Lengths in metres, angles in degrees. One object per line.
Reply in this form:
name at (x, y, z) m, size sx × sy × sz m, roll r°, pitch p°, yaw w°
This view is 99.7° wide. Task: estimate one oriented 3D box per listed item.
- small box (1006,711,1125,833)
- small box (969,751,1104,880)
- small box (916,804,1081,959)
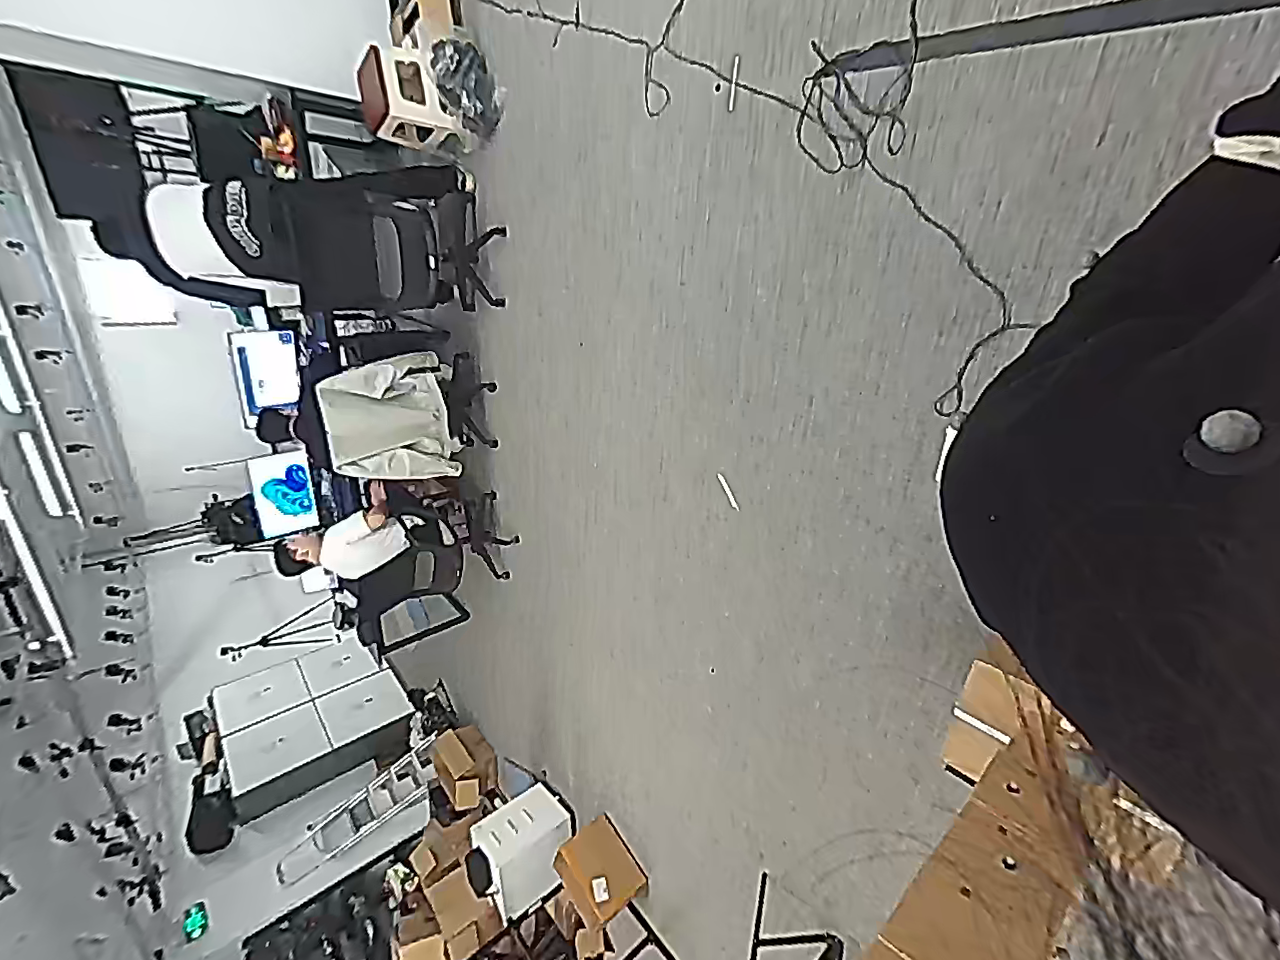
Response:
small box at (0.815, 0.602, 1.065) m, size 0.168 × 0.176 × 0.179 m, roll 24°, pitch 119°, yaw 43°
small box at (0.691, 0.630, 0.965) m, size 0.168 × 0.176 × 0.179 m, roll 23°, pitch 120°, yaw 45°
small box at (0.570, 0.670, 0.860) m, size 0.168 × 0.176 × 0.179 m, roll 18°, pitch 115°, yaw 47°
